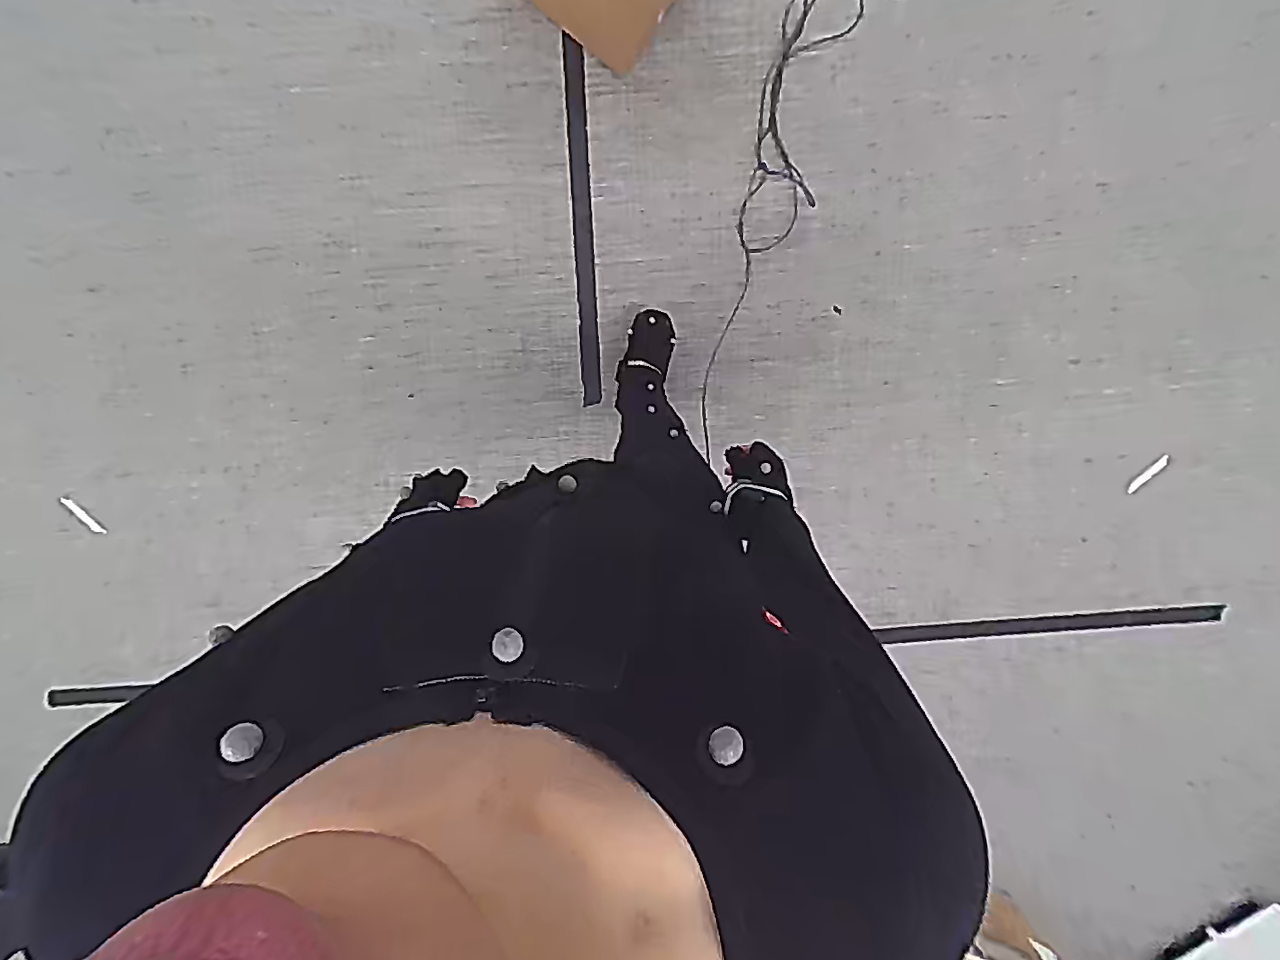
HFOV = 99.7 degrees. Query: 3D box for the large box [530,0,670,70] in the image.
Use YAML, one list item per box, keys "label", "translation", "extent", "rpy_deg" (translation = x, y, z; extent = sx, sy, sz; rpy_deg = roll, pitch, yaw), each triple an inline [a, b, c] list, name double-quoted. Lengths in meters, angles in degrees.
- label: "large box"
  translation: [-0.113, -1.203, 1.135]
  extent: [0.408, 0.320, 0.320]
  rpy_deg: [35, 97, -7]
